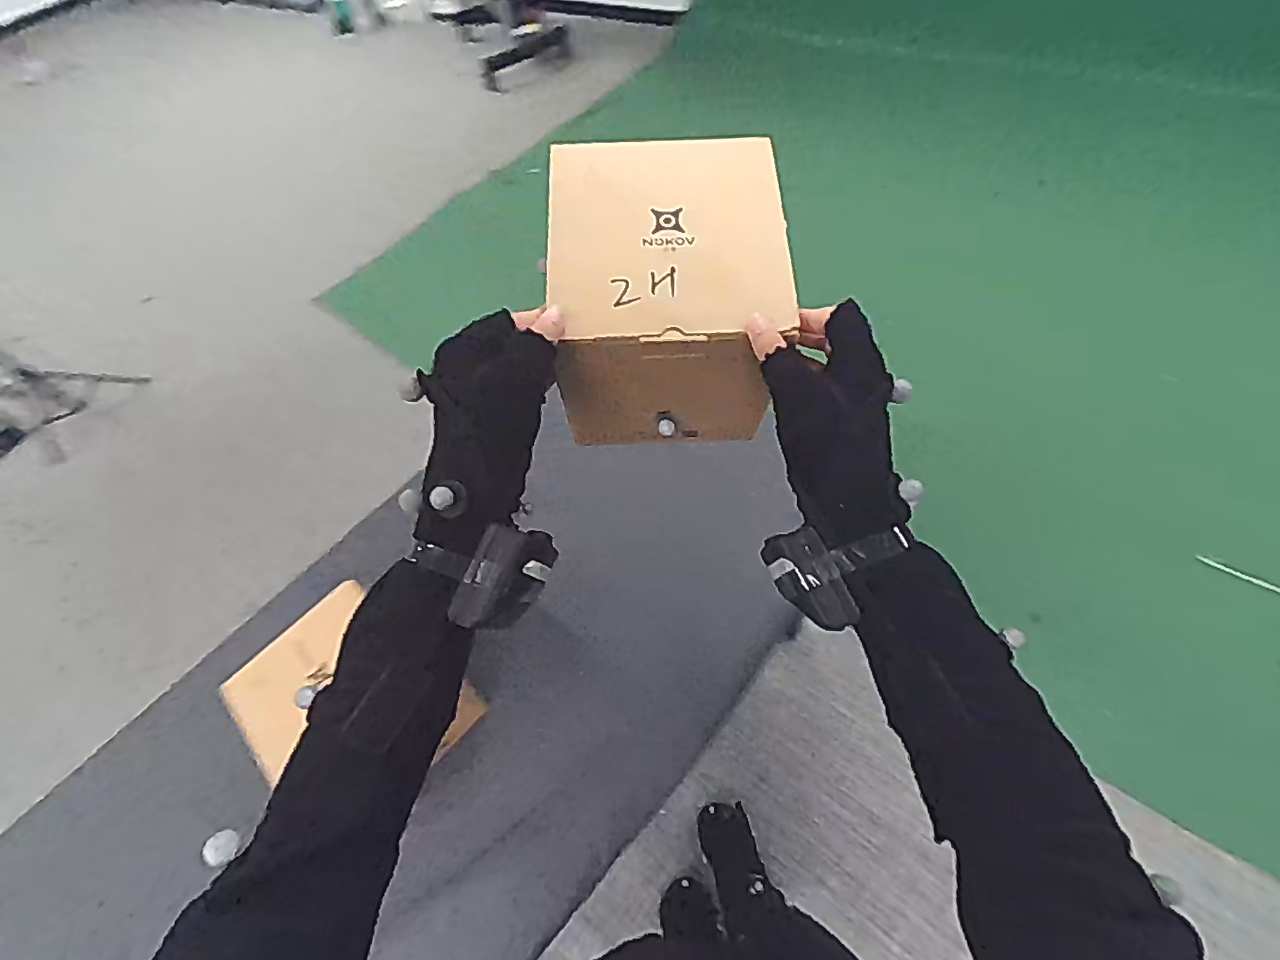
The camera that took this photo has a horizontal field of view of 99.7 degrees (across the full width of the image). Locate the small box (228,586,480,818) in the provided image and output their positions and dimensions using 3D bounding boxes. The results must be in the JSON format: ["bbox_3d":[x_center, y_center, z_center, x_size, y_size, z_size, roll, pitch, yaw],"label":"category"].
[{"bbox_3d":[-0.322,0.264,0.641,0.179,0.176,0.168,35,69,28],"label":"small box"}]
